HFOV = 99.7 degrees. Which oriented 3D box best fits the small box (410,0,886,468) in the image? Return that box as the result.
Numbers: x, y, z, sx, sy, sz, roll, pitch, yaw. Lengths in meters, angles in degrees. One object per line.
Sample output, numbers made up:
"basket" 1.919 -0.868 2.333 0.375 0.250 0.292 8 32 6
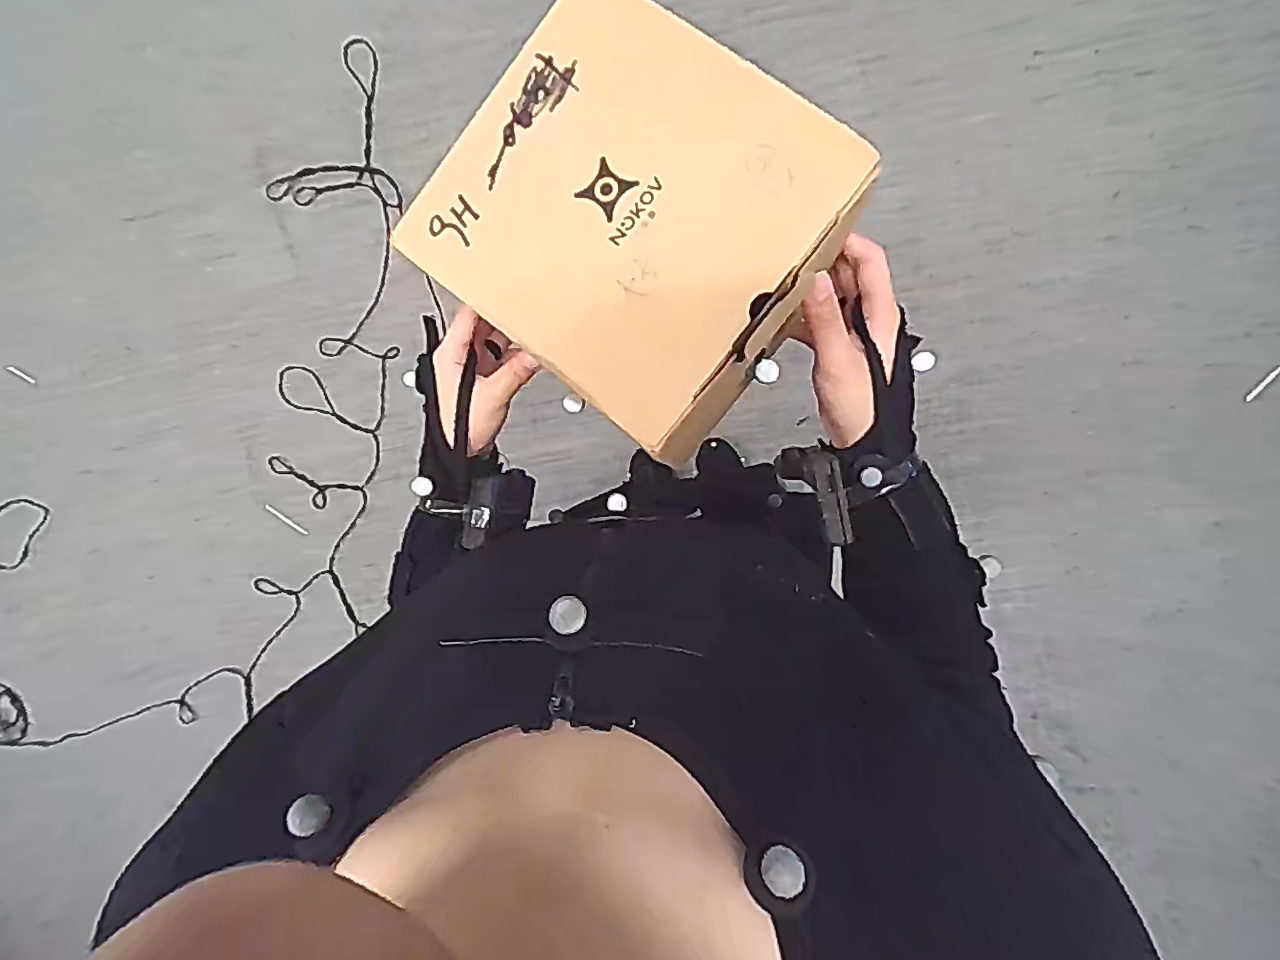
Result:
"small box" 0.008 -0.123 0.339 0.179 0.176 0.168 41 94 6
